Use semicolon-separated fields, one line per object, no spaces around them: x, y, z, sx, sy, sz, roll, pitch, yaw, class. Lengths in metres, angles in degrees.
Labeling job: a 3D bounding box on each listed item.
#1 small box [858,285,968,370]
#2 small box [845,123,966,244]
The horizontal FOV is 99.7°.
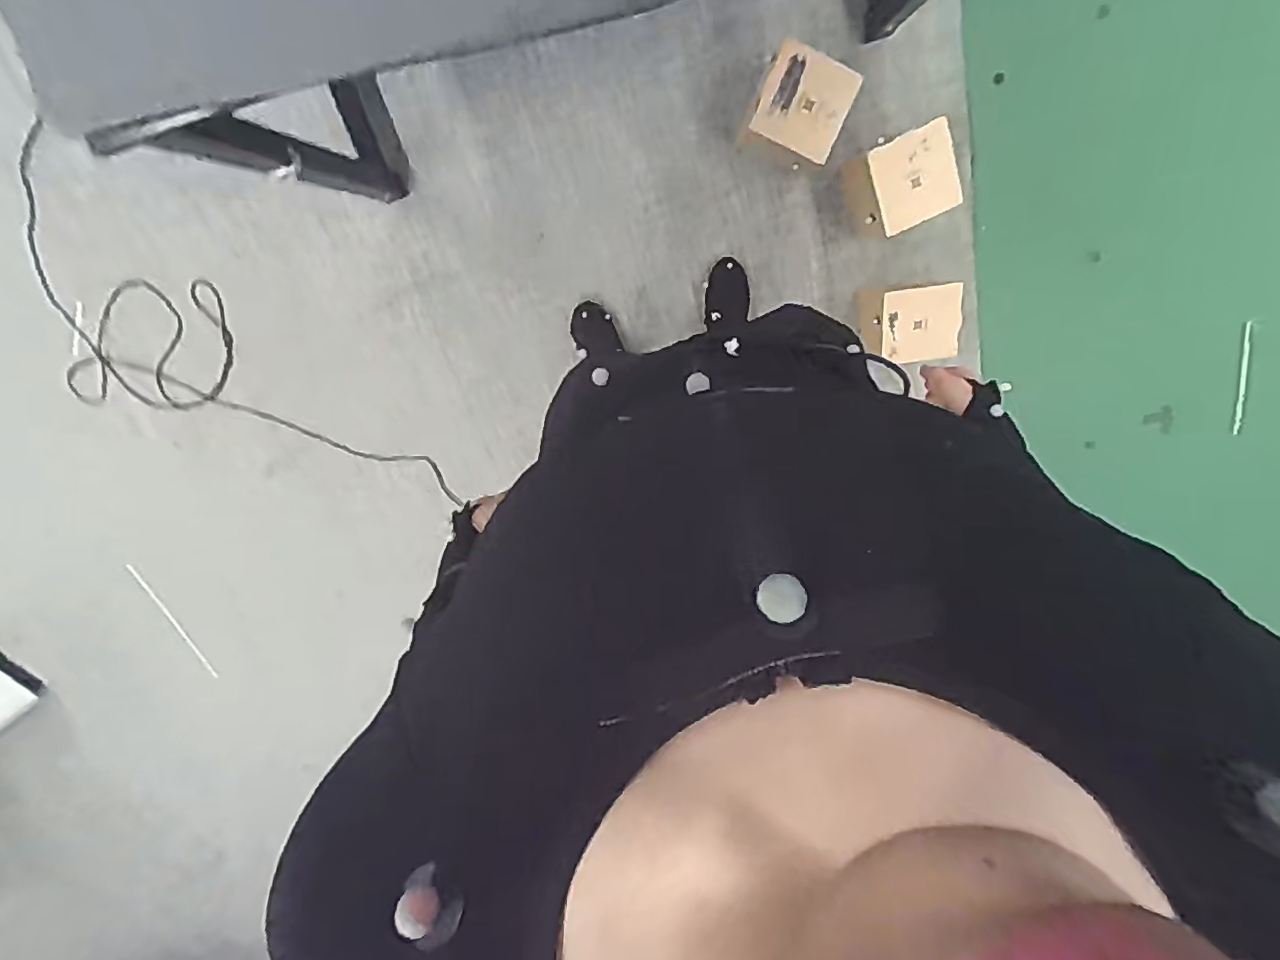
0.641;-0.367;1.288;0.179;0.176;0.168;-6;112;3;small box
0.573;-0.635;1.183;0.168;0.176;0.179;-22;110;9;small box
